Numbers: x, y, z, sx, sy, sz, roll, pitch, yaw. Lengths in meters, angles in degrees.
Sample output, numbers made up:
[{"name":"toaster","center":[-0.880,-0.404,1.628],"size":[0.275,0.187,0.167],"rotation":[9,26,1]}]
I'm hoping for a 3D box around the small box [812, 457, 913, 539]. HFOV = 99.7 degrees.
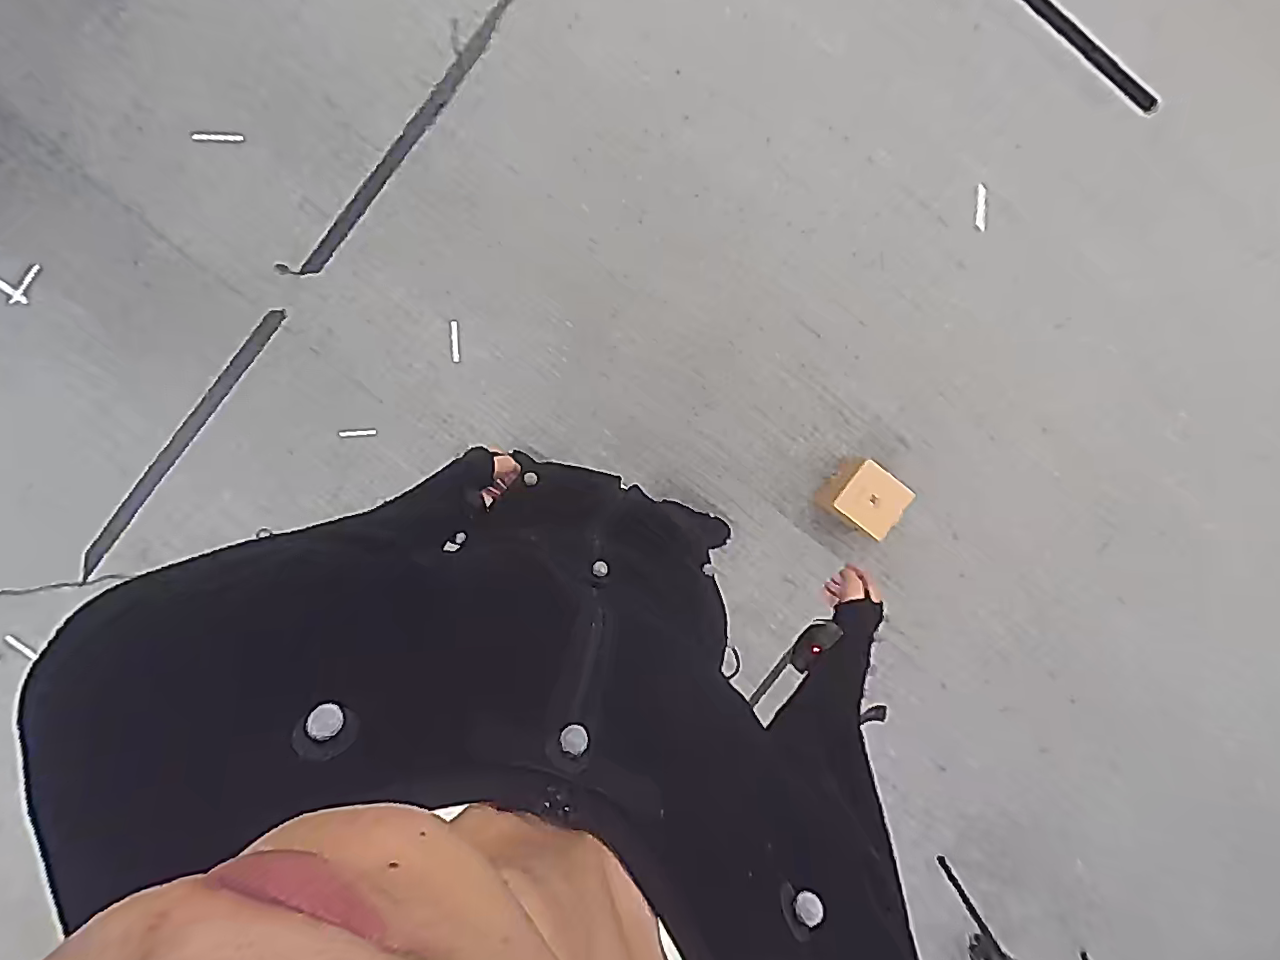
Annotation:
[{"name":"small box","center":[0.637,0.042,1.565],"size":[0.179,0.176,0.168],"rotation":[37,92,-5]}]
